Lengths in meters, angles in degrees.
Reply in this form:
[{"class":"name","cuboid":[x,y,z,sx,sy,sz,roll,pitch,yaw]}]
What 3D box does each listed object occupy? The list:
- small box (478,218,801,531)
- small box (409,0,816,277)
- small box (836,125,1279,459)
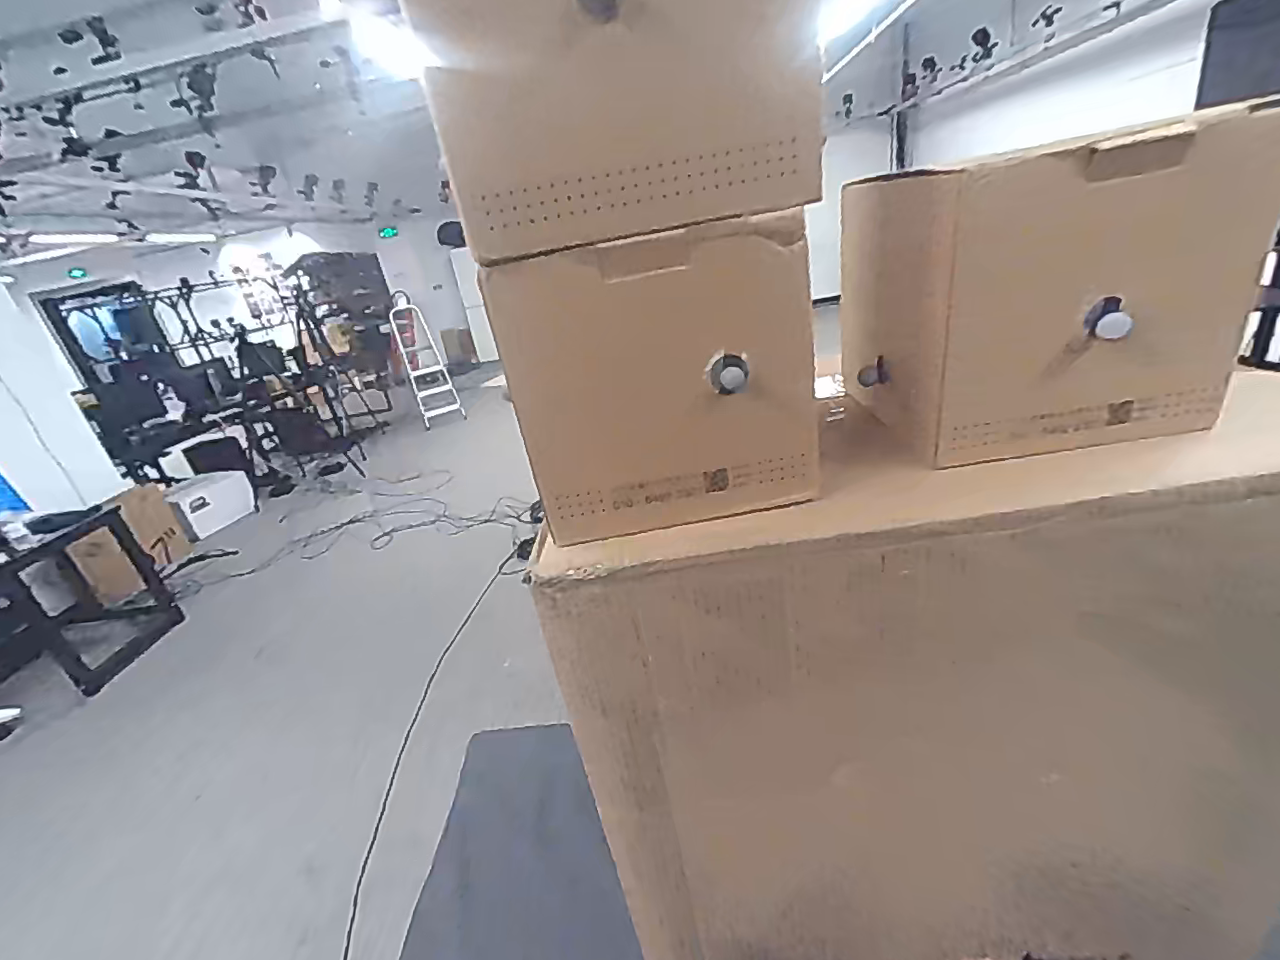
[{"class":"small box","cuboid":[0.007,-0.075,0.377,0.168,0.176,0.179,-9,25,1]},{"class":"small box","cuboid":[-0.016,-0.218,0.299,0.179,0.176,0.168,-11,27,-6]},{"class":"small box","cuboid":[0.246,-0.121,0.373,0.168,0.176,0.179,-8,26,4]}]
